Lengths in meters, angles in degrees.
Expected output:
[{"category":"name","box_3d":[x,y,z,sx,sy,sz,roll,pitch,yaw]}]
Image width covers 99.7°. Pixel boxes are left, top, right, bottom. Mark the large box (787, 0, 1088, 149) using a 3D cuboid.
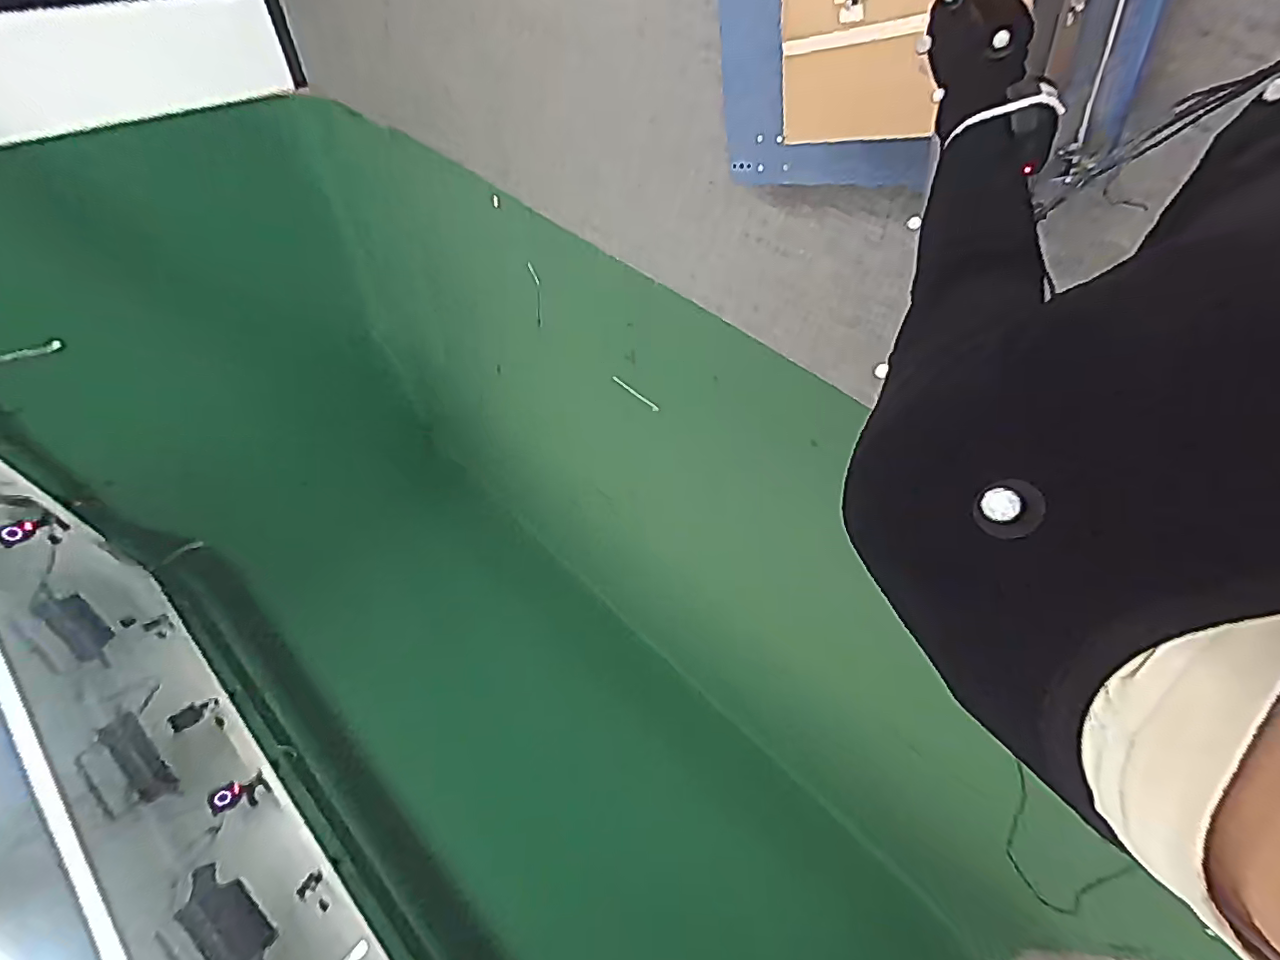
[{"category":"large box","box_3d":[0.521,-0.812,0.963,0.408,0.320,0.320,26,141,39]}]
